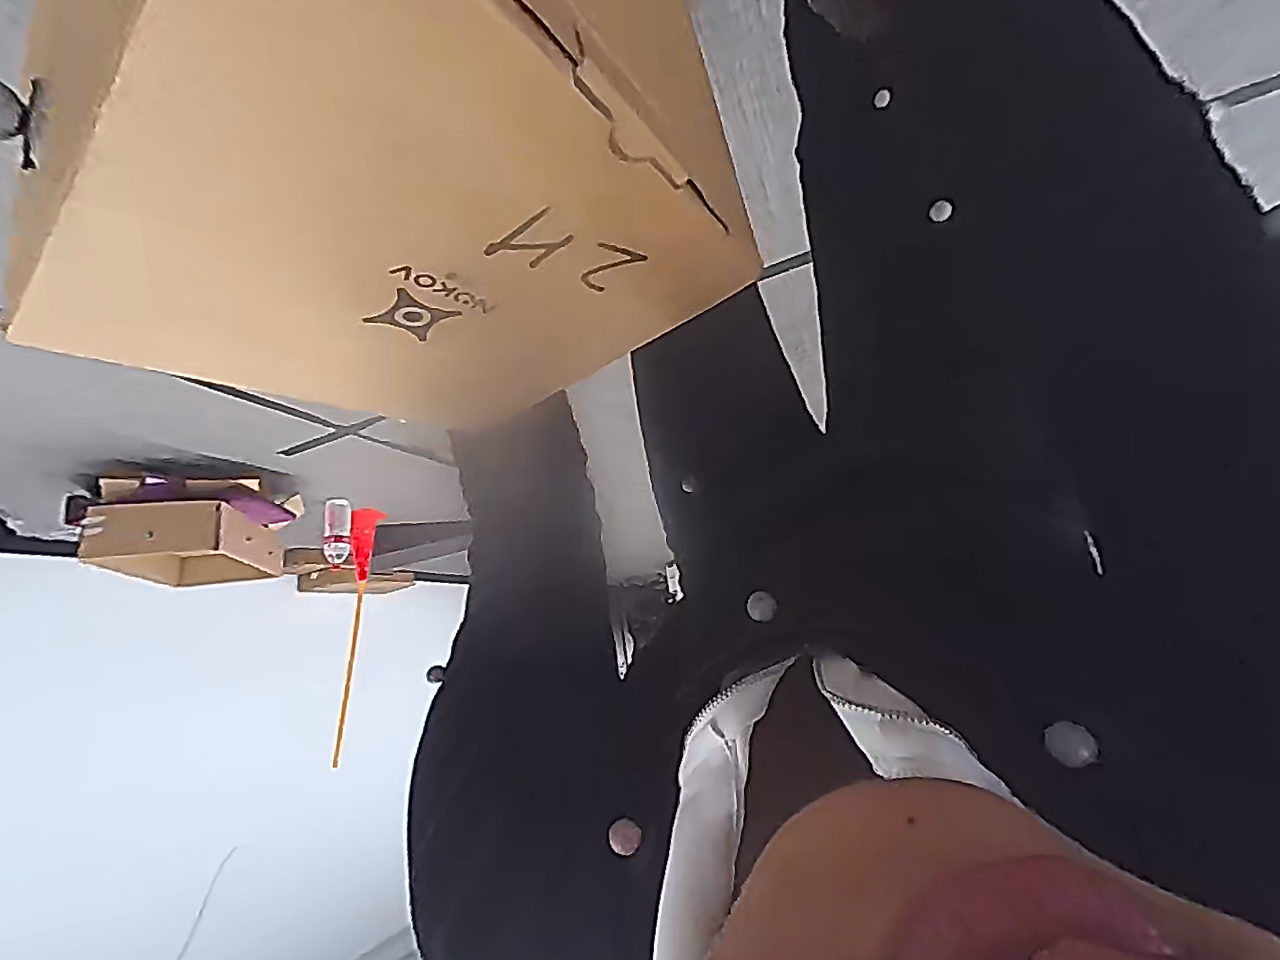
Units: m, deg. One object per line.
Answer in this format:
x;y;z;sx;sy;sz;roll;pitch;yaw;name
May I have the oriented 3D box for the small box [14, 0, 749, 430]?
-0.086;-0.138;0.202;0.179;0.176;0.168;-21;163;31;small box
